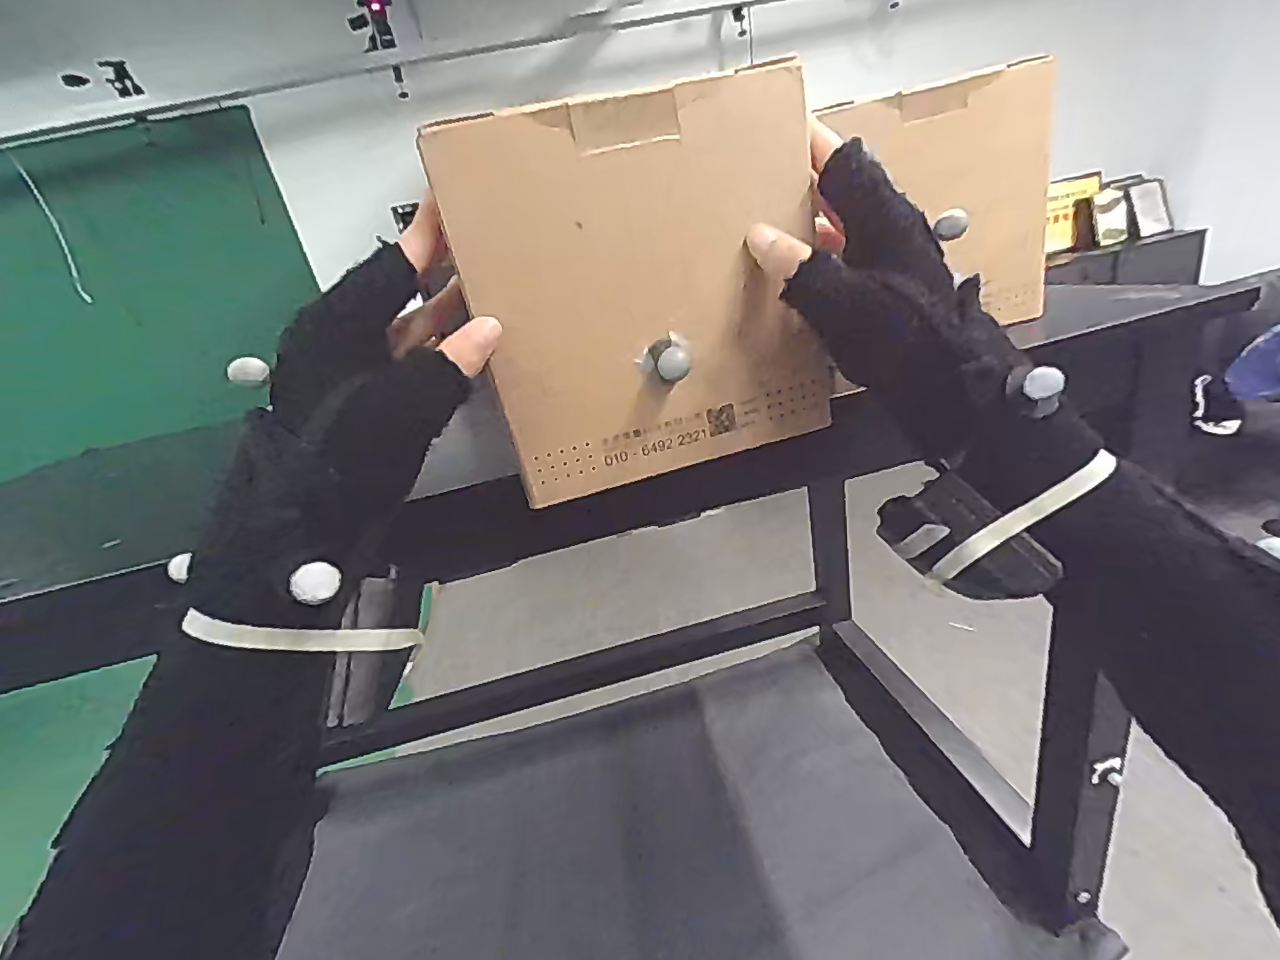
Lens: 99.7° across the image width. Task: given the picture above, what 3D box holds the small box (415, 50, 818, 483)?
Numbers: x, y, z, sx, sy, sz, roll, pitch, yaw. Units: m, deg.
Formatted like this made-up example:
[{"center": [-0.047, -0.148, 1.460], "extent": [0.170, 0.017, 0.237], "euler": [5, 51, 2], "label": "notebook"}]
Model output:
[{"center": [-0.012, -0.114, 0.327], "extent": [0.168, 0.176, 0.179], "euler": [-16, 22, -7], "label": "small box"}]
